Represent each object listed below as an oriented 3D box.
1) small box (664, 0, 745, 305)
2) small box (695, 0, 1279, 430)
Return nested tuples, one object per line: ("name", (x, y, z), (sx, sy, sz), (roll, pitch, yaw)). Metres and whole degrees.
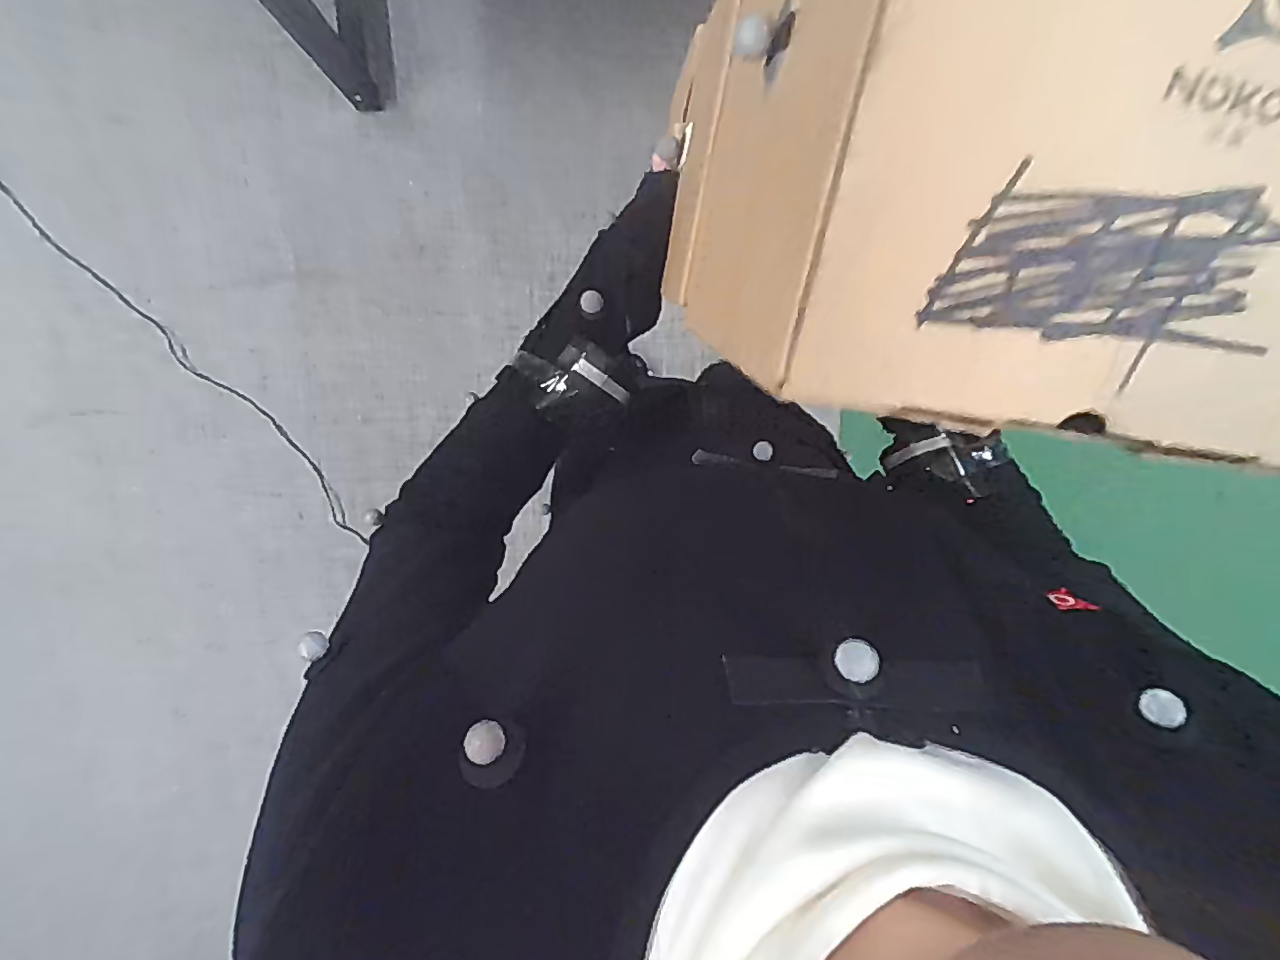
("small box", (0.117, -0.189, 0.326), (0.179, 0.176, 0.168), (4, 111, -5))
("small box", (0.121, -0.133, 0.190), (0.168, 0.176, 0.179), (7, 110, -7))
